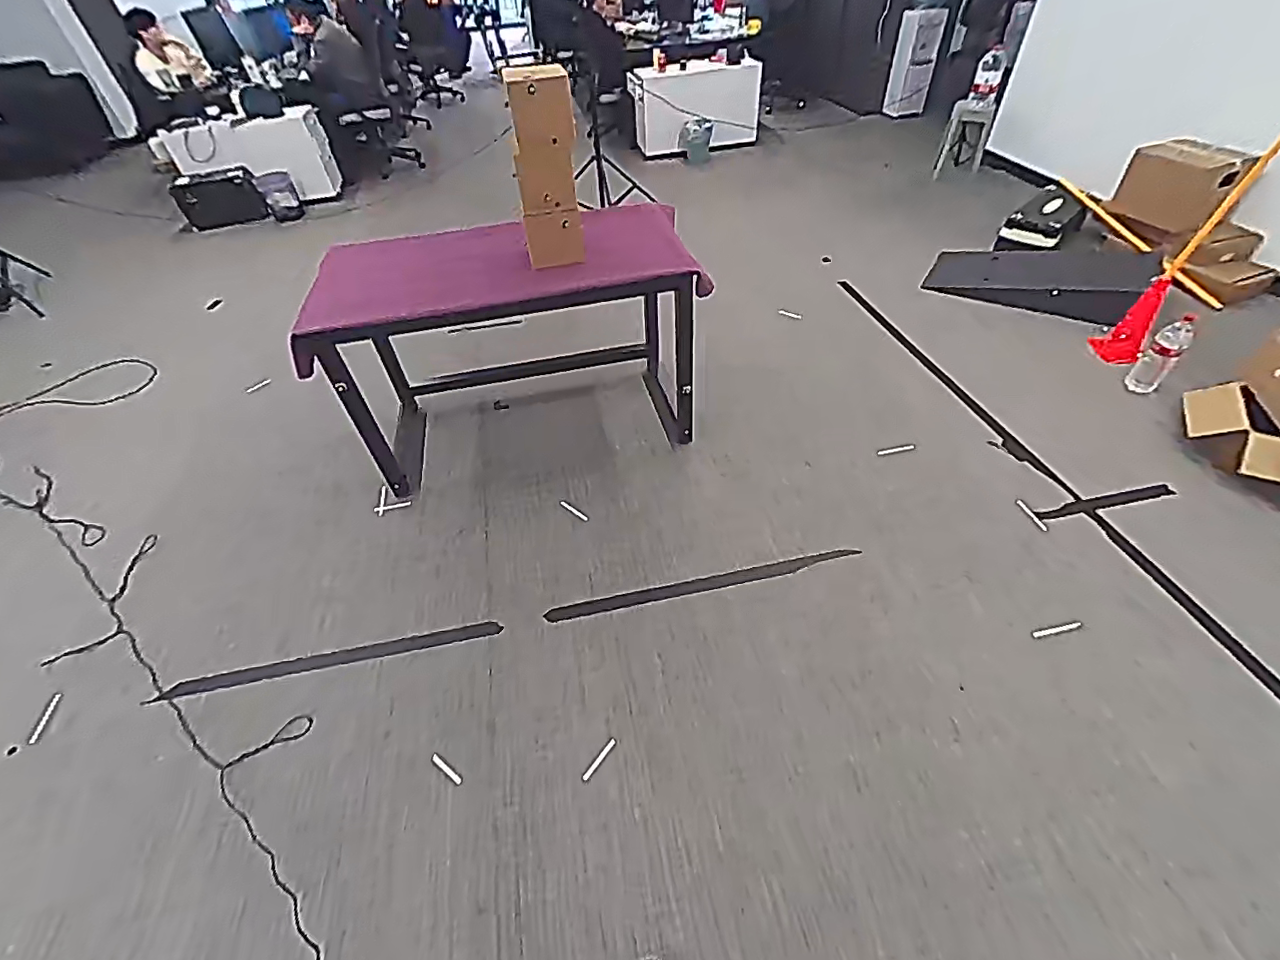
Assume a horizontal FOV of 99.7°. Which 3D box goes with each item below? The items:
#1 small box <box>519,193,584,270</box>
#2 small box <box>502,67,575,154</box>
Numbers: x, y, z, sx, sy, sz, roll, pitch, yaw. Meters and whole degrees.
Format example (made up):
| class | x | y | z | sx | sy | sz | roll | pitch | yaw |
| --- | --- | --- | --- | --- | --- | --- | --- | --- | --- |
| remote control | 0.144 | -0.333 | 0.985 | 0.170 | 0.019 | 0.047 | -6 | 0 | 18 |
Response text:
| class | x | y | z | sx | sy | sz | roll | pitch | yaw |
| --- | --- | --- | --- | --- | --- | --- | --- | --- | --- |
| small box | -0.283 | -0.803 | 1.748 | 0.179 | 0.176 | 0.168 | -13 | 46 | -6 |
| small box | -0.284 | -1.035 | 1.515 | 0.168 | 0.176 | 0.179 | -12 | 46 | -7 |
